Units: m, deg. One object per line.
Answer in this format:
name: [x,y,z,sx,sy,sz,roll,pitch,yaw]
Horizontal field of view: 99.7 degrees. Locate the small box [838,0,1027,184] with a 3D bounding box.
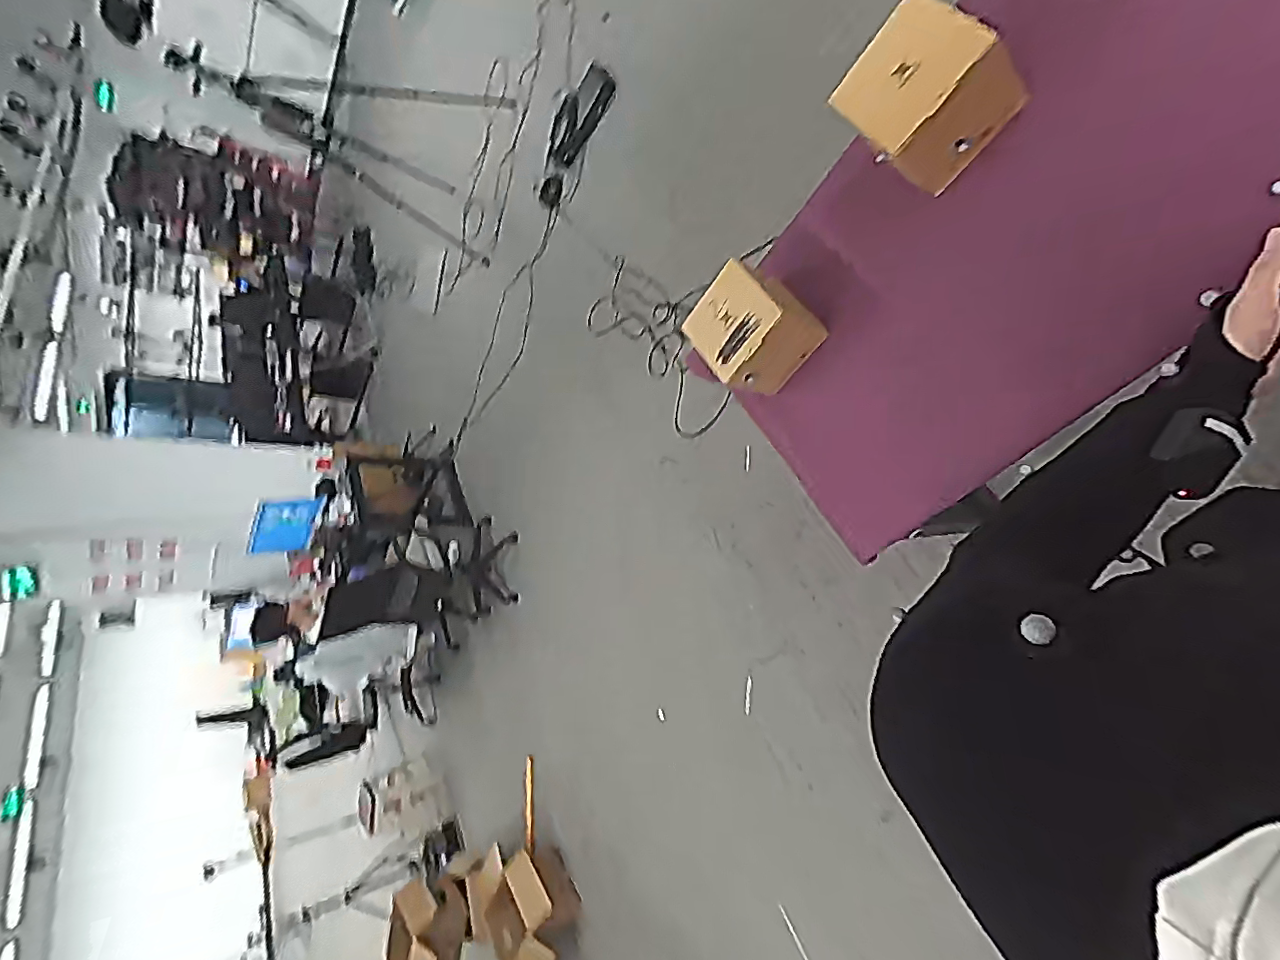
small box: [0.459,-0.607,0.853,0.168,0.176,0.179,-49,56,36]
